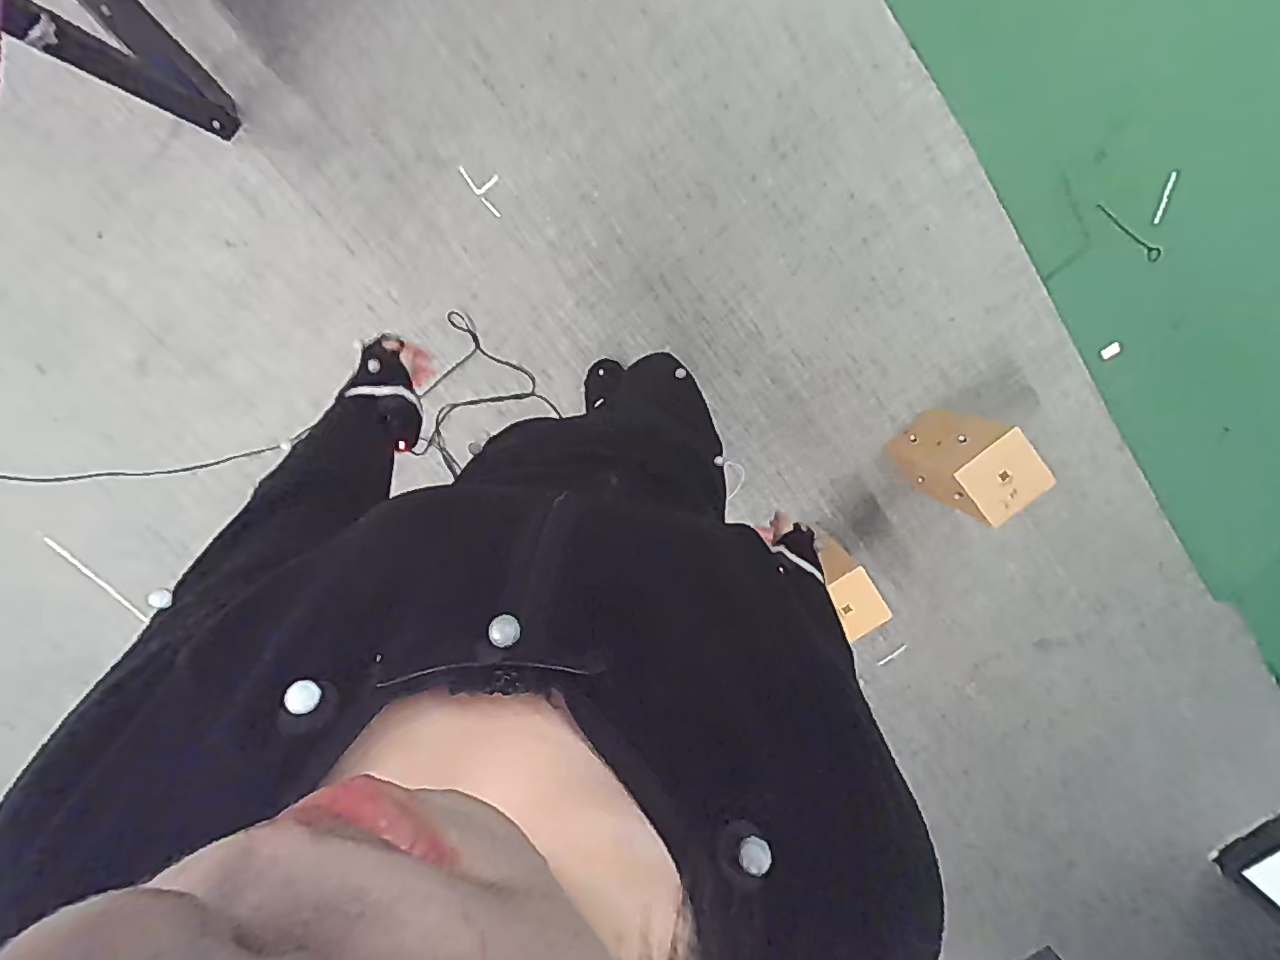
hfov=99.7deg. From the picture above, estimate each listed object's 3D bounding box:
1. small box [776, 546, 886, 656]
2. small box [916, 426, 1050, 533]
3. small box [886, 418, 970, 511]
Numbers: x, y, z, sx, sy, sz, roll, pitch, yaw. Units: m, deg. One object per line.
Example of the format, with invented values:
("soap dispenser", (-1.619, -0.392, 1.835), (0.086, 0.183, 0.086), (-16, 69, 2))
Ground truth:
("small box", (0.467, 0.293, 1.346), (0.179, 0.176, 0.168), (-33, 104, 7))
("small box", (0.795, -0.011, 1.273), (0.168, 0.176, 0.179), (-40, 102, 10))
("small box", (0.792, -0.050, 1.433), (0.168, 0.176, 0.179), (-38, 103, 9))
